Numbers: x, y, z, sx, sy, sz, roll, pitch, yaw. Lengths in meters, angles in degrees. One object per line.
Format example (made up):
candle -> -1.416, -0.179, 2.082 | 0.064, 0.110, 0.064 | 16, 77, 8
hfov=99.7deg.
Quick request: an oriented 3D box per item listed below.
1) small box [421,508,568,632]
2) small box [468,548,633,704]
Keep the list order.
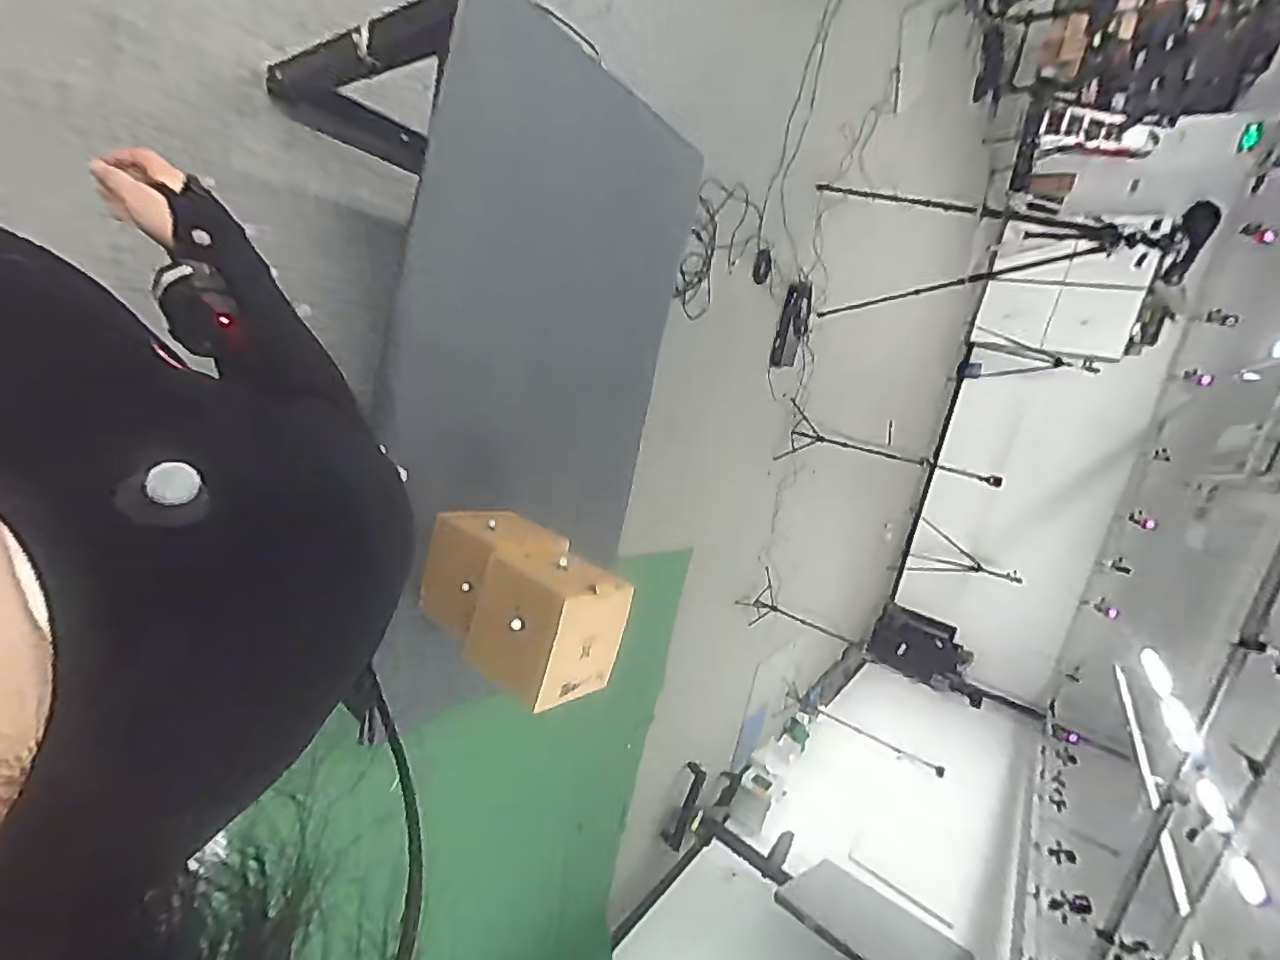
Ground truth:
small box -> -0.257, 0.152, 0.943 | 0.168, 0.176, 0.179 | 3, 105, -54
small box -> -0.141, 0.210, 0.839 | 0.168, 0.176, 0.179 | 8, 99, -55
